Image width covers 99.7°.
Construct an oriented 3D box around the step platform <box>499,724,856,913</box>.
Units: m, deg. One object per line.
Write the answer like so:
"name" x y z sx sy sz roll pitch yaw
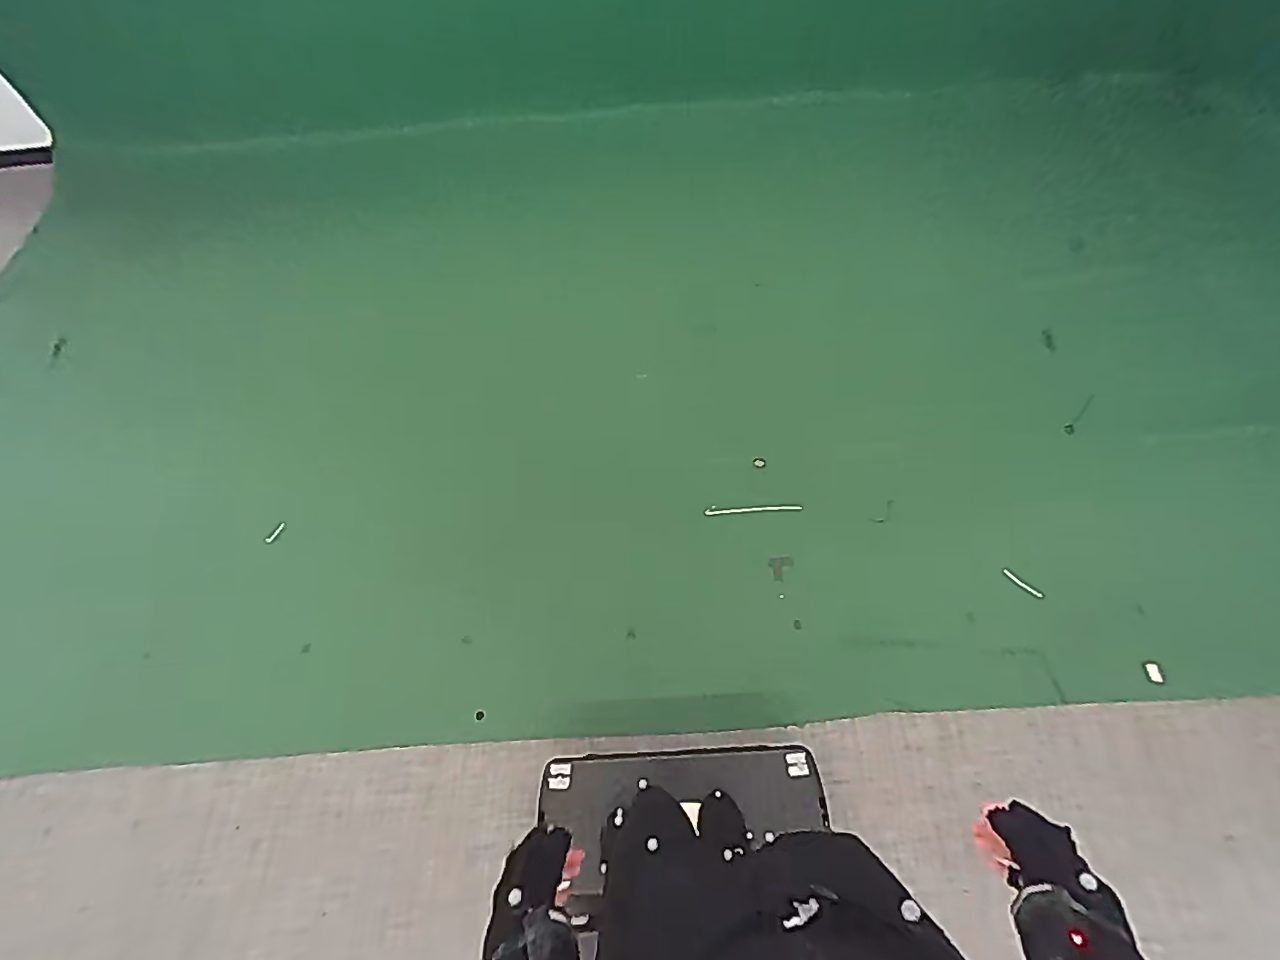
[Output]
"step platform" 0.070 0.690 1.132 0.684 0.204 0.286 -4 62 1
